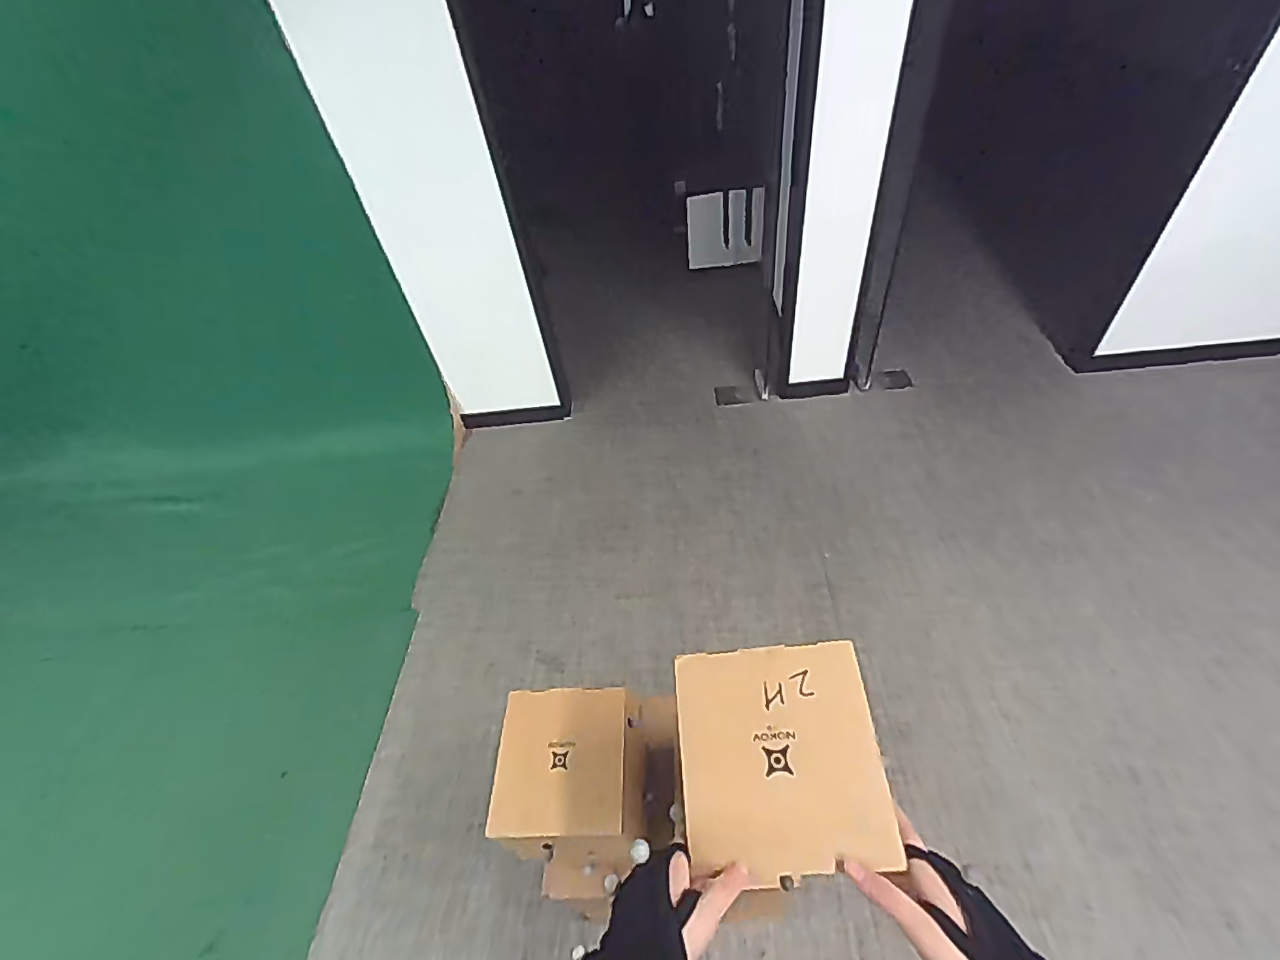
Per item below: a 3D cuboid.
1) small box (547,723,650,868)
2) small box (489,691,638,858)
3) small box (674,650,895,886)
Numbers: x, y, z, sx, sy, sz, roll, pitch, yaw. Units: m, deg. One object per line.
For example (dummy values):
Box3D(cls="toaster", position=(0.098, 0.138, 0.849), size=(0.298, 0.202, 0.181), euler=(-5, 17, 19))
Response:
Box3D(cls="small box", position=(-0.073, 0.514, 0.881), size=(0.168, 0.176, 0.179), euler=(-3, 49, 5))
Box3D(cls="small box", position=(-0.093, 0.414, 0.754), size=(0.168, 0.176, 0.179), euler=(-4, 48, 4))
Box3D(cls="small box", position=(0.129, 0.282, 0.533), size=(0.168, 0.176, 0.179), euler=(-7, 57, 8))
